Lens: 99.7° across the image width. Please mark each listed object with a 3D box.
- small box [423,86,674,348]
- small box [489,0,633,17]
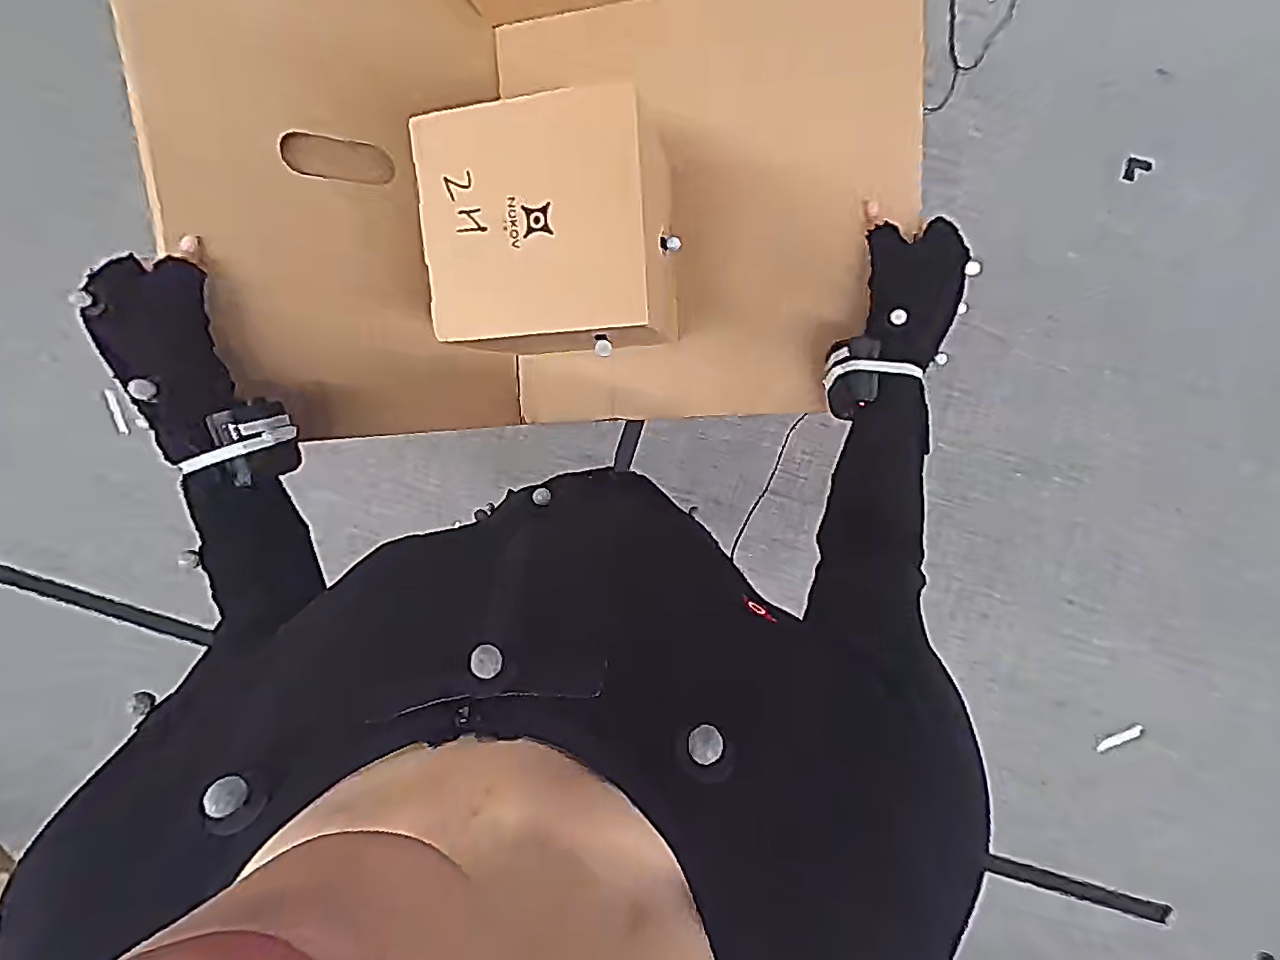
[{"bbox_3d":[-0.063,-0.211,0.485,0.179,0.176,0.168,0,99,12],"label":"small box"},{"bbox_3d":[-0.077,-0.524,0.437,0.179,0.176,0.168,0,99,10],"label":"small box"}]
